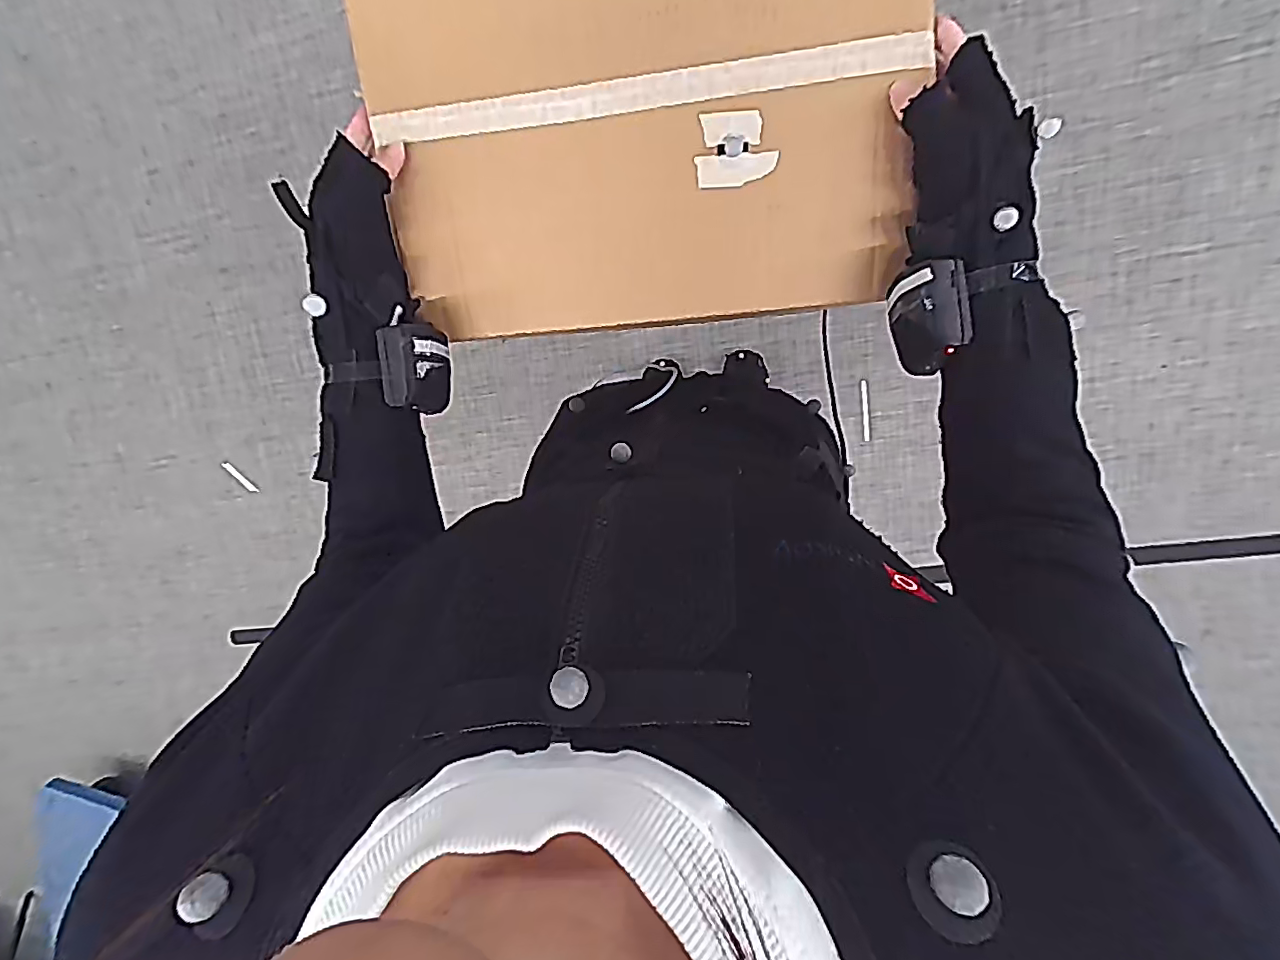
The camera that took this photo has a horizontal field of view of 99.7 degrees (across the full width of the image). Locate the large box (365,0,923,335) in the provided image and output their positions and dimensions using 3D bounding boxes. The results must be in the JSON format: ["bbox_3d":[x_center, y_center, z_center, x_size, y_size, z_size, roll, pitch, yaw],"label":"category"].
[{"bbox_3d":[0.012,-0.326,0.544,0.408,0.320,0.320,-4,106,6],"label":"large box"}]
